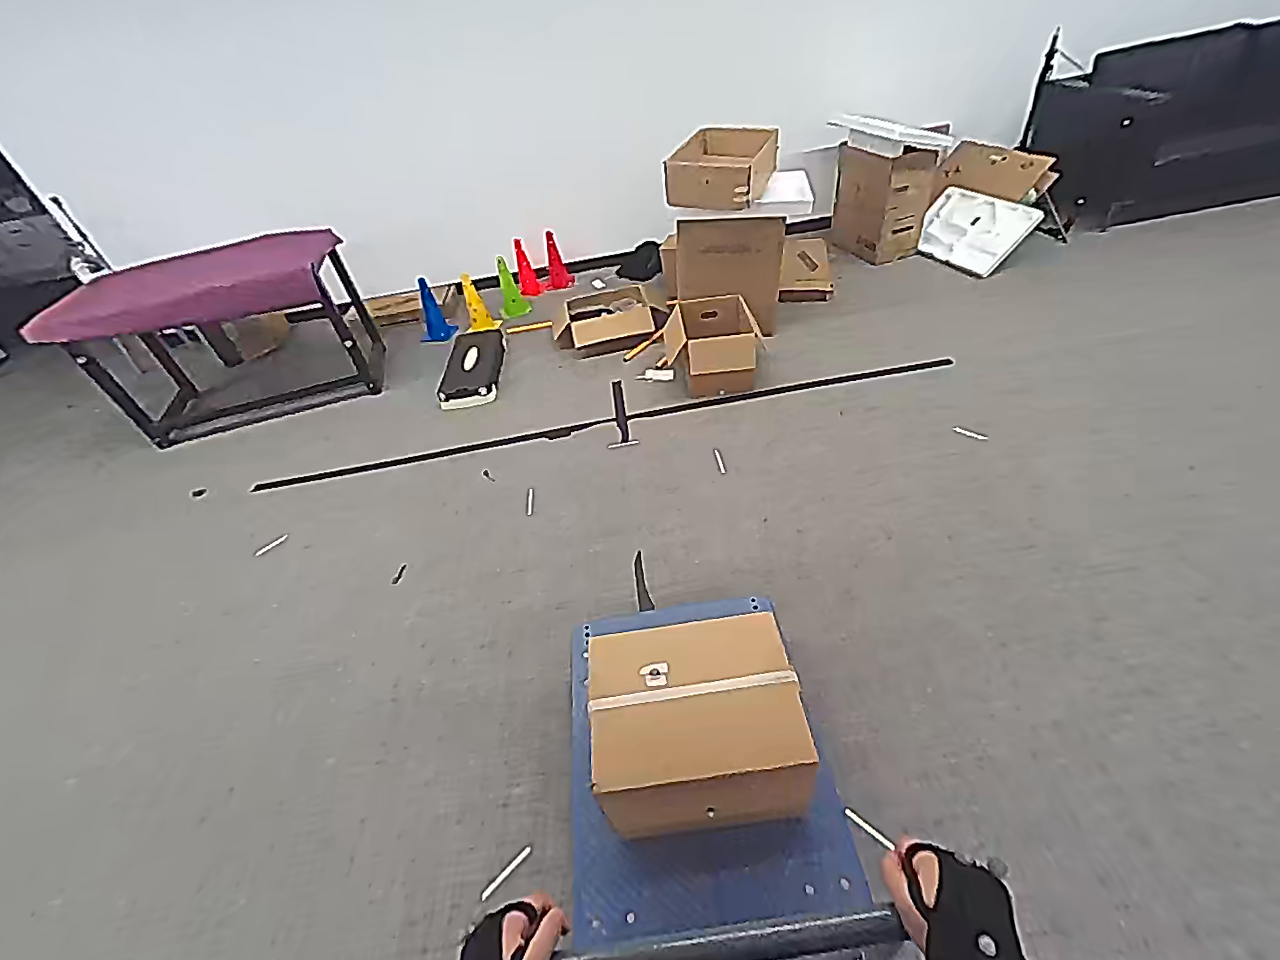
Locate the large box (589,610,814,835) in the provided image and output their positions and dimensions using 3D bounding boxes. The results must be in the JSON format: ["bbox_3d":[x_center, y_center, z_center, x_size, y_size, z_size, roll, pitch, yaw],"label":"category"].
[{"bbox_3d":[0.123,0.529,1.173,0.408,0.320,0.320,-10,41,1],"label":"large box"}]
